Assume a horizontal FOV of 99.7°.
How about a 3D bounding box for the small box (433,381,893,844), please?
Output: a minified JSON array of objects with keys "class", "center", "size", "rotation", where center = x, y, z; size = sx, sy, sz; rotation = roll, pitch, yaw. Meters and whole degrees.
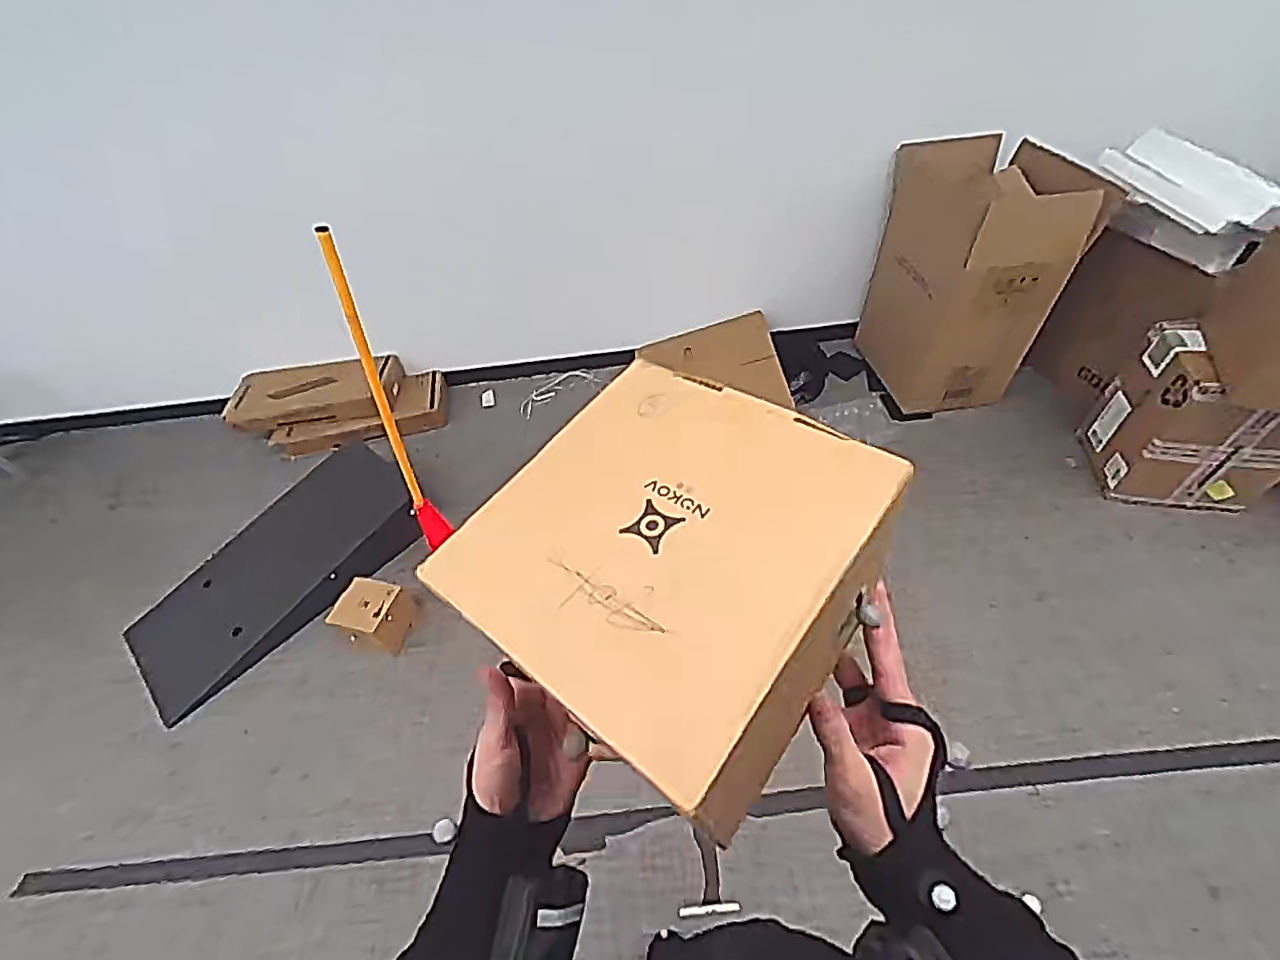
[{"class":"small box","center":[0.023,0.077,0.325],"size":[0.168,0.176,0.179],"rotation":[26,63,31]}]
